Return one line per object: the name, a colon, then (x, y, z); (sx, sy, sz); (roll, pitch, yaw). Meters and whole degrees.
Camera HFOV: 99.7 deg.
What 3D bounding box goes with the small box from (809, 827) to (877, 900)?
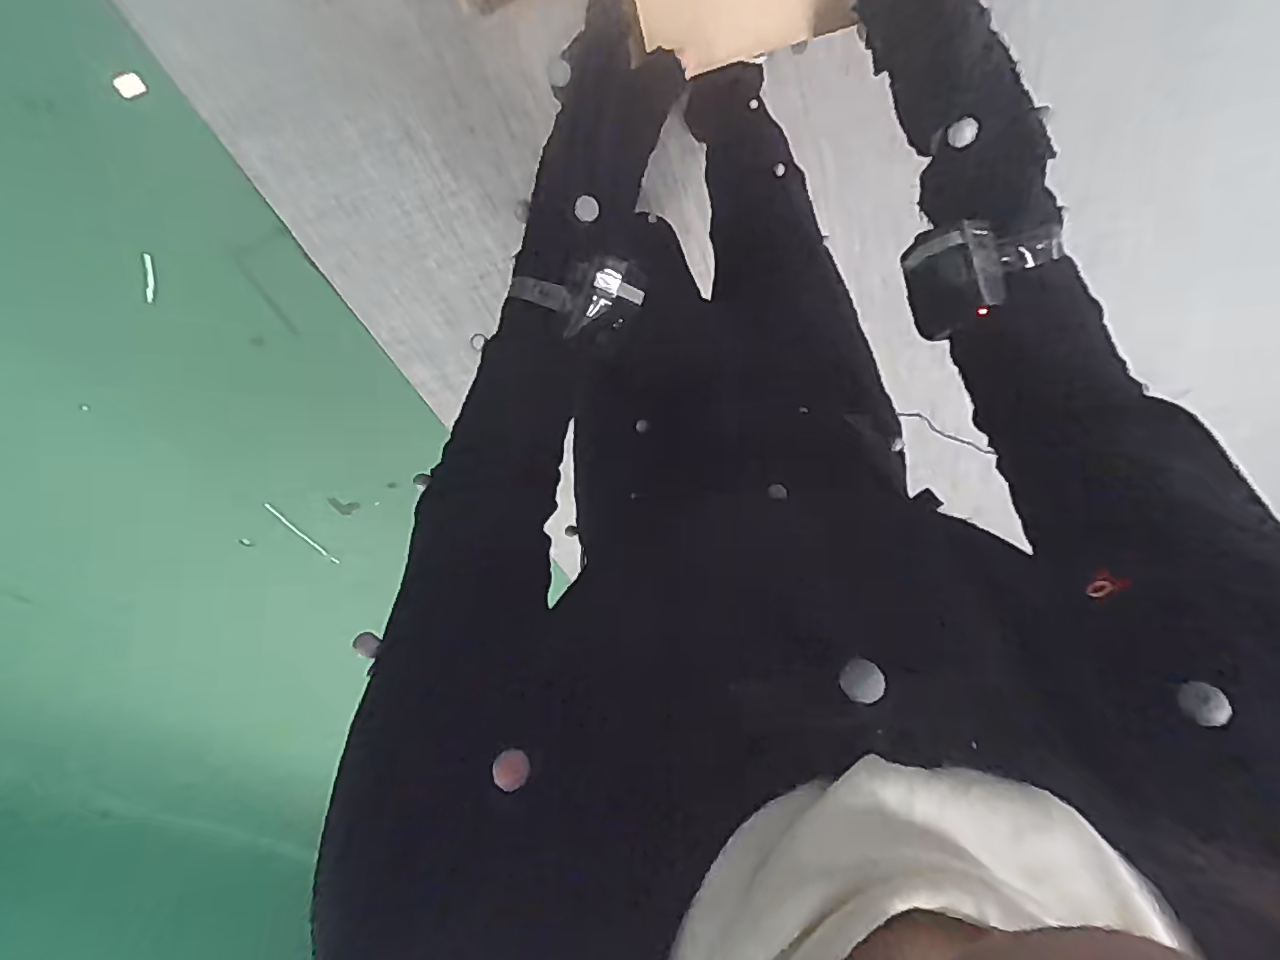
small box: (0.674, 1.276, 1.804); (0.168, 0.176, 0.179); (-17, 134, 11)
